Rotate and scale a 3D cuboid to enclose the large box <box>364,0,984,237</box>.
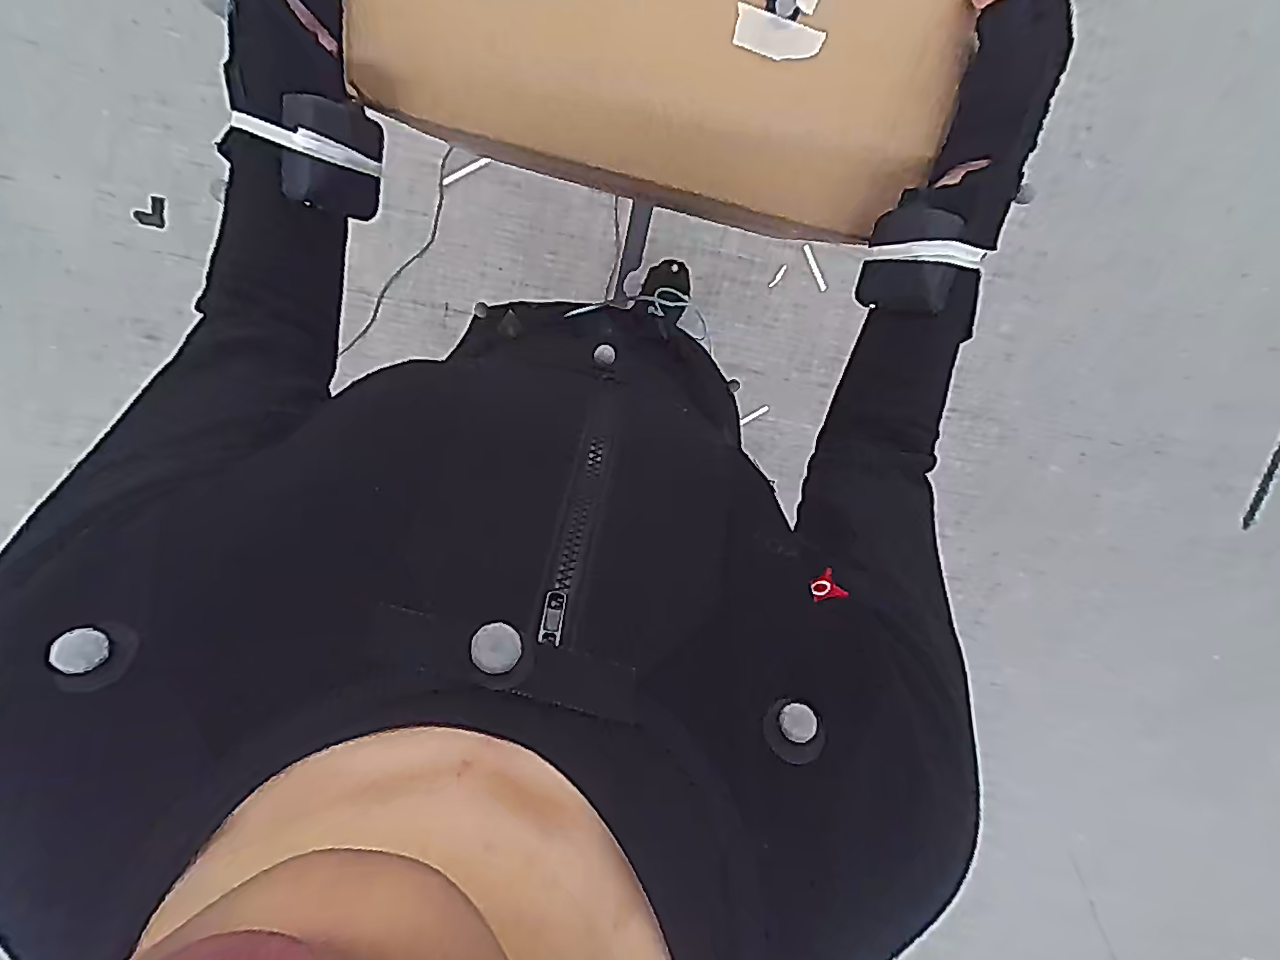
[{"bbox_3d":[0.028,-0.420,0.465,0.408,0.320,0.320,11,116,-8],"label":"large box"}]
